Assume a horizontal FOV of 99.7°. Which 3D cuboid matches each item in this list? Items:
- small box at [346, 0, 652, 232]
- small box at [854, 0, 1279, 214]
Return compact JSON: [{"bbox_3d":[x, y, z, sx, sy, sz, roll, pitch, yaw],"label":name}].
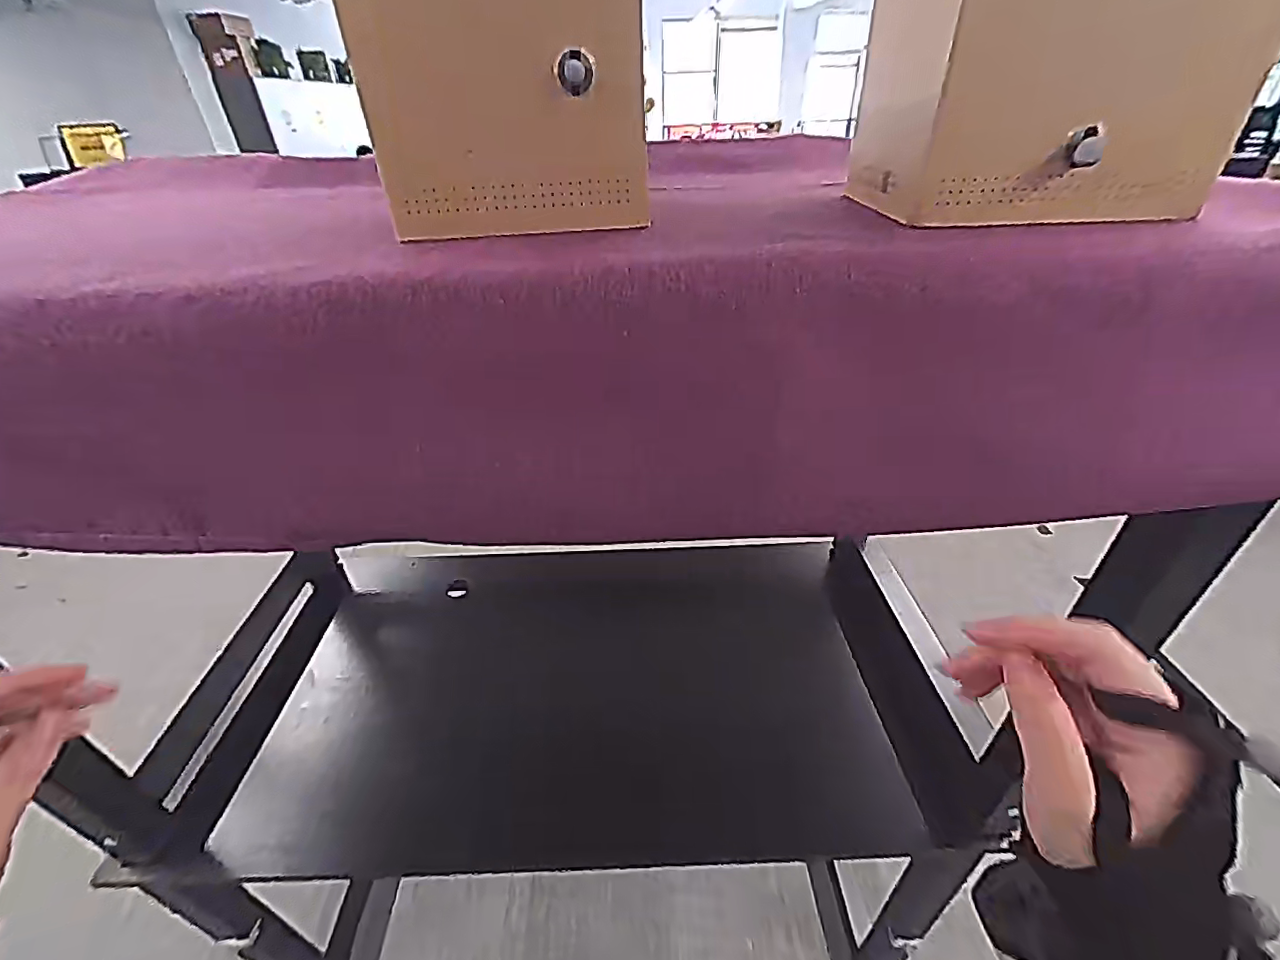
[{"bbox_3d":[-0.085,-0.287,0.392,0.179,0.176,0.168,-6,34,-4],"label":"small box"},{"bbox_3d":[0.263,-0.280,0.354,0.179,0.176,0.168,0,34,3],"label":"small box"}]
